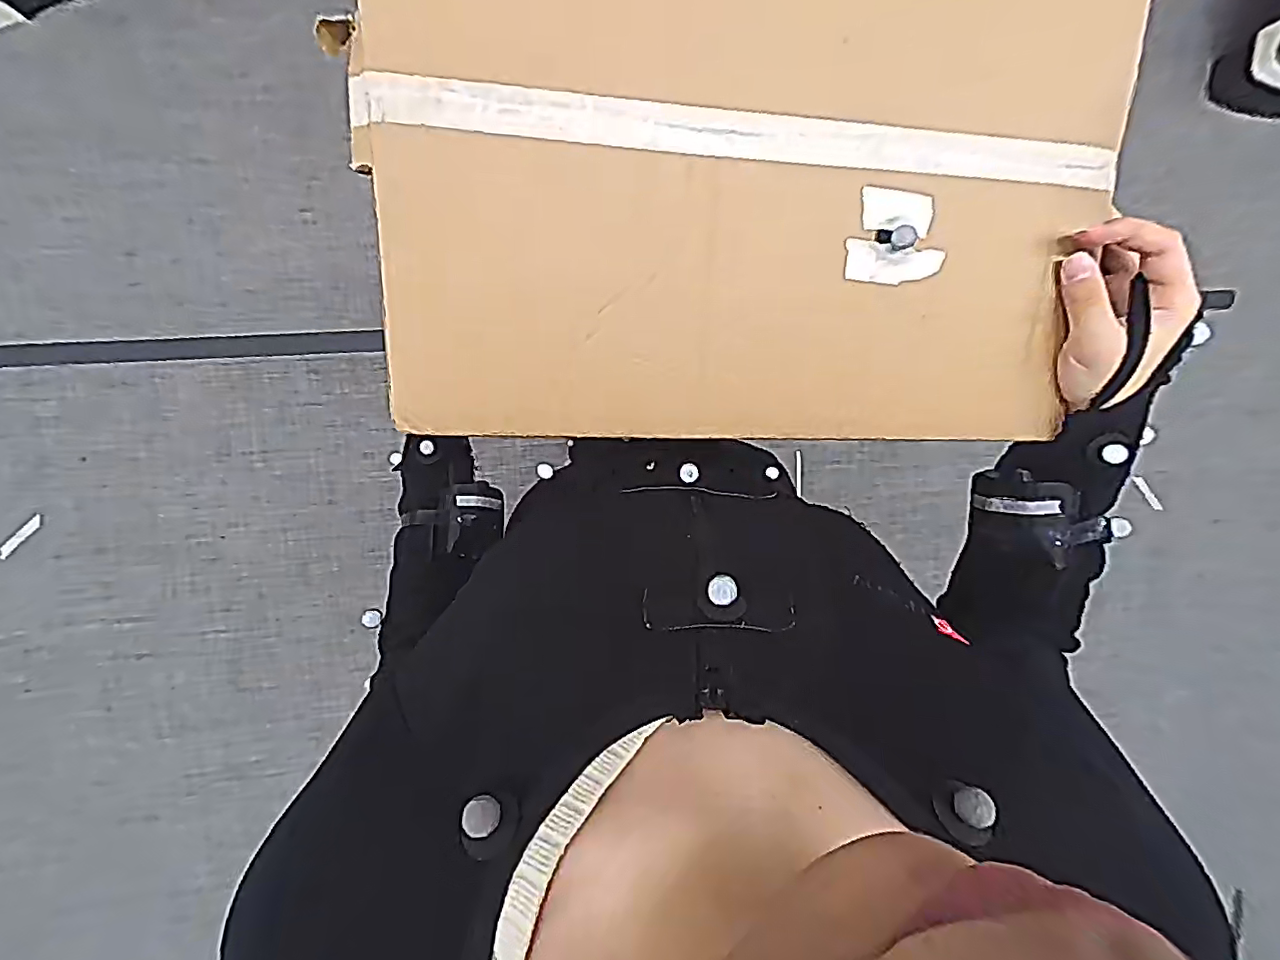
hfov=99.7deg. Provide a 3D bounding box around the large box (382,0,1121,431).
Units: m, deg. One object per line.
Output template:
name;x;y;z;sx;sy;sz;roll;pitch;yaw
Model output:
large box;0.046;-0.214;0.434;0.408;0.320;0.320;-1;104;-11
